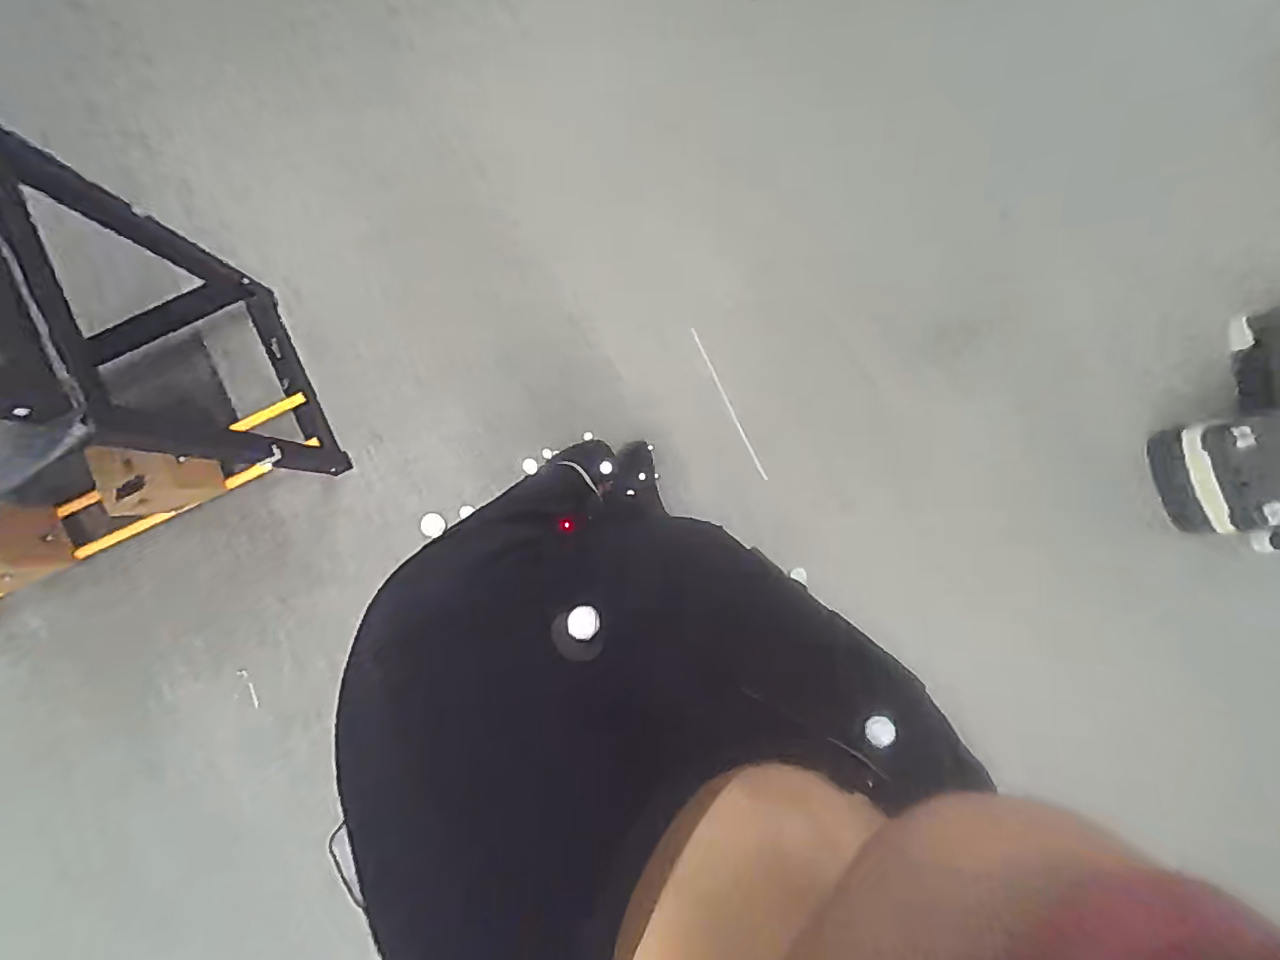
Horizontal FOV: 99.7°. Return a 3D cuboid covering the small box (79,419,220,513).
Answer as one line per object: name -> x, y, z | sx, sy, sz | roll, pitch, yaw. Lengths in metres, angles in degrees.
small box -> -1.175, -0.030, 1.312 | 0.168, 0.176, 0.179 | -22, 87, -2
